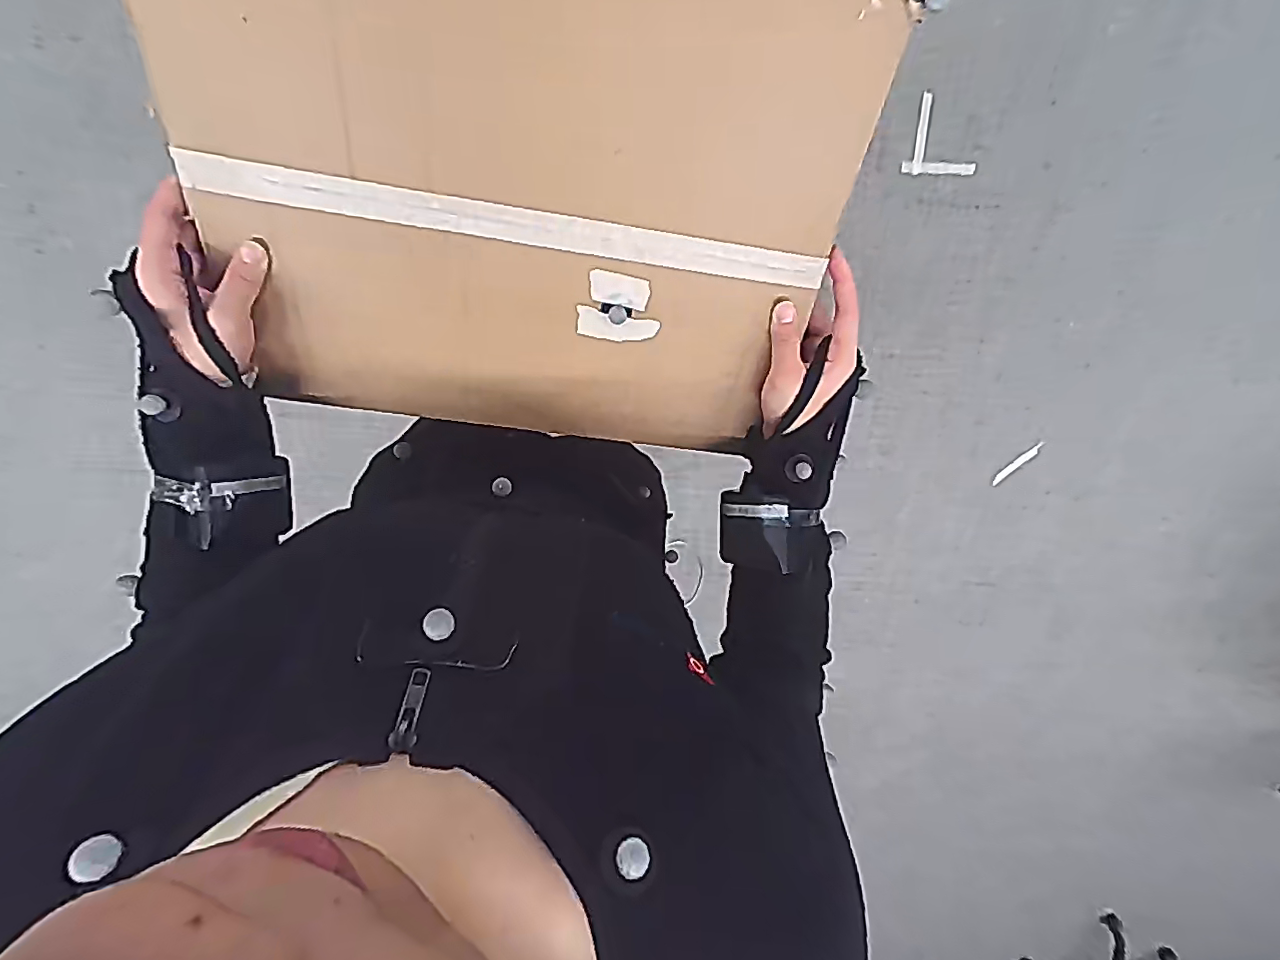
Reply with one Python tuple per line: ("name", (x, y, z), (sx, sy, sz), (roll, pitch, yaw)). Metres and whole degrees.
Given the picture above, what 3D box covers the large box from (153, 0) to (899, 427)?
("large box", (-0.080, -0.272, 0.467), (0.408, 0.320, 0.320), (6, 128, -8))
